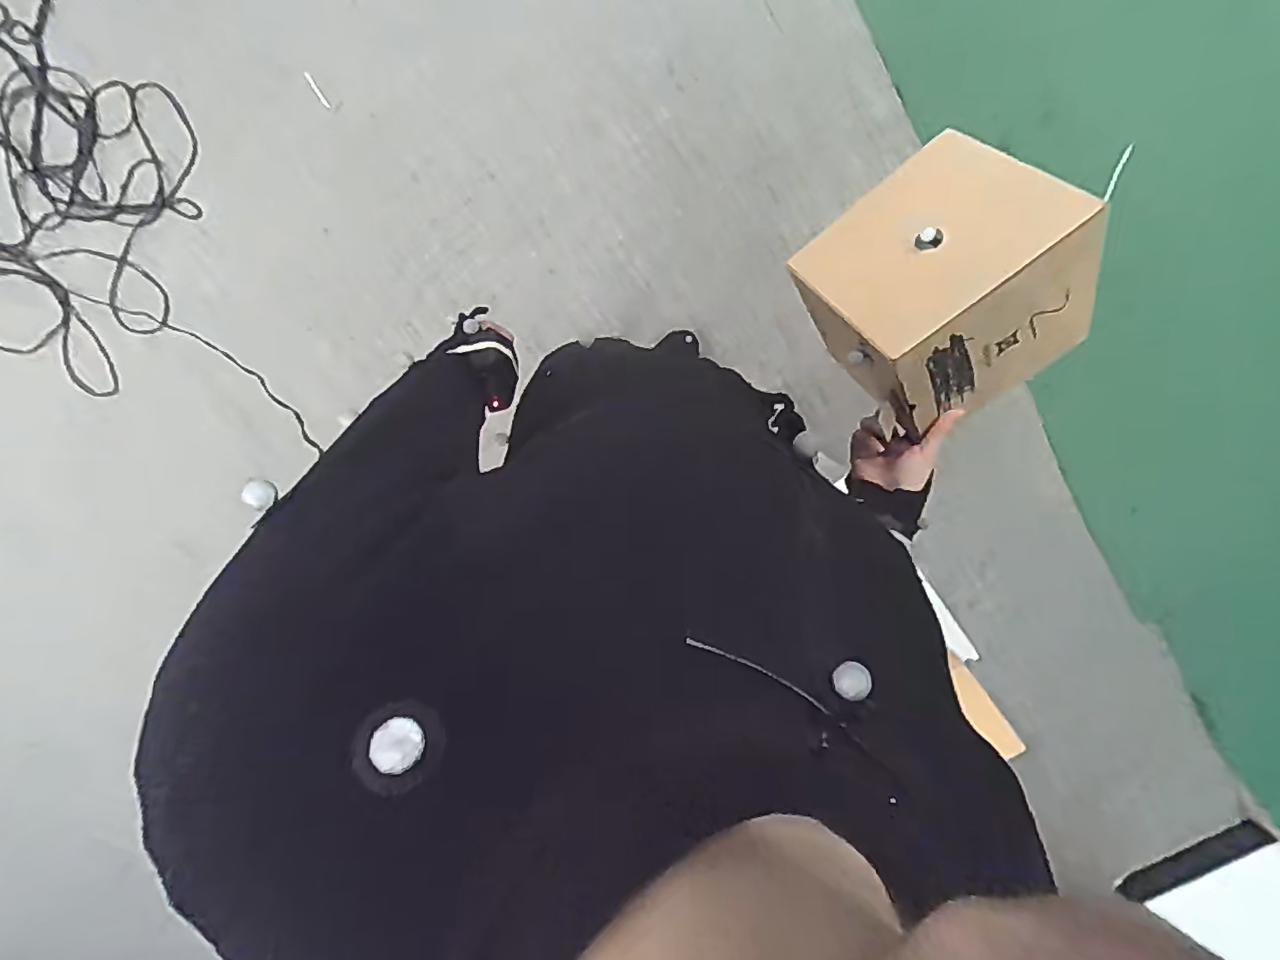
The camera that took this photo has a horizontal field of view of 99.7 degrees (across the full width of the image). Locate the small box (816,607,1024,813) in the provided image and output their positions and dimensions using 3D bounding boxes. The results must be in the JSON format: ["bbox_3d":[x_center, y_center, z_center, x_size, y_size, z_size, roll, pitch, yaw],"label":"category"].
[{"bbox_3d":[0.385,0.318,0.774,0.168,0.176,0.179,-38,102,11],"label":"small box"}]
